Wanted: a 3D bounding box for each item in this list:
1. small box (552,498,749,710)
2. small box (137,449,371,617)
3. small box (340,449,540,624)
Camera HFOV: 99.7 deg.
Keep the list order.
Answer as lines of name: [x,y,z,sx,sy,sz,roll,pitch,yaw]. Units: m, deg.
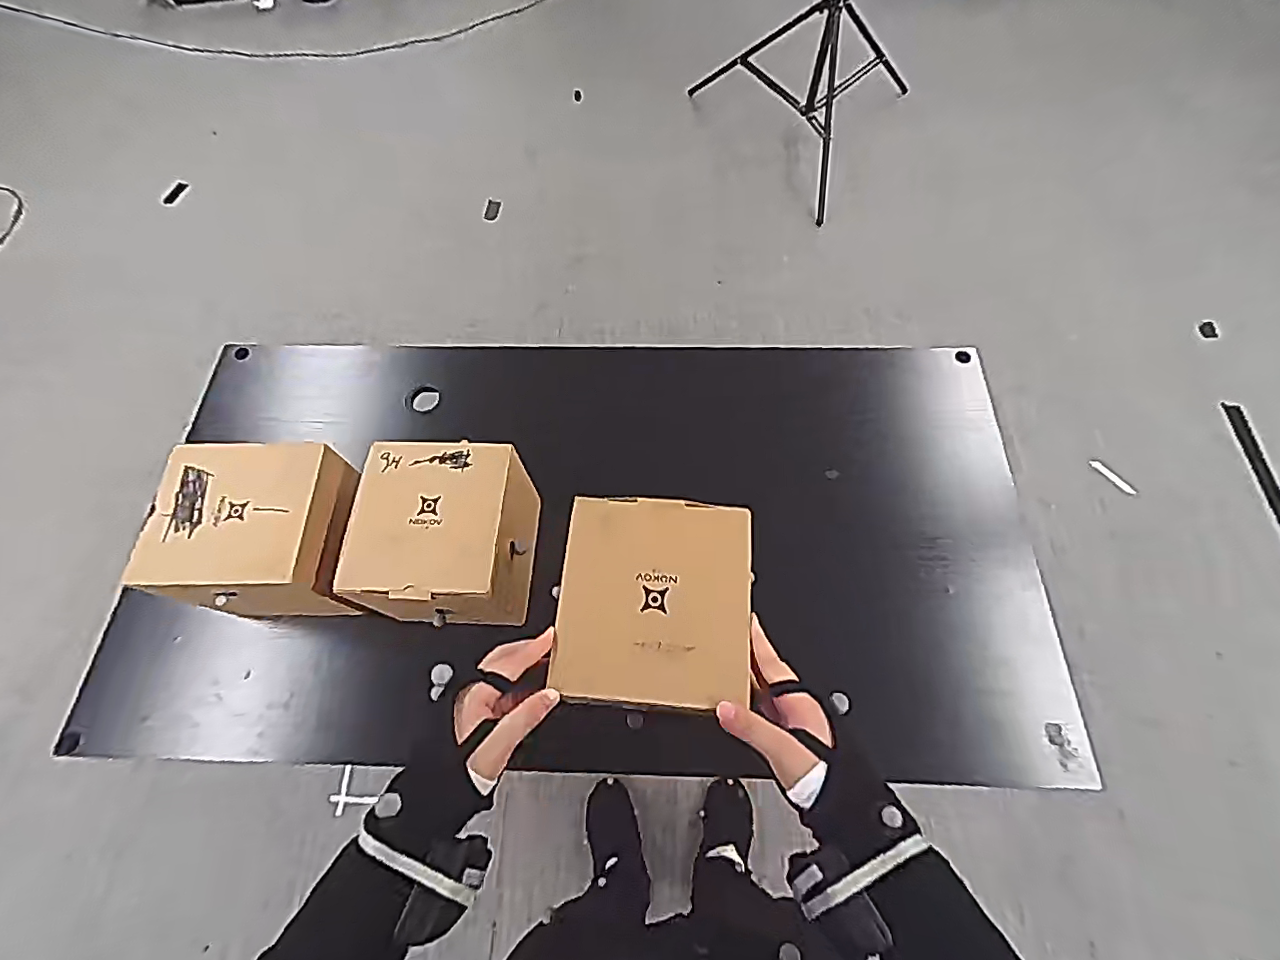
small box: [0.015,0.133,0.549,0.168,0.176,0.179,3,66,3]
small box: [-0.440,0.073,0.670,0.179,0.176,0.168,-1,65,0]
small box: [-0.225,0.076,0.664,0.168,0.176,0.179,1,66,2]
